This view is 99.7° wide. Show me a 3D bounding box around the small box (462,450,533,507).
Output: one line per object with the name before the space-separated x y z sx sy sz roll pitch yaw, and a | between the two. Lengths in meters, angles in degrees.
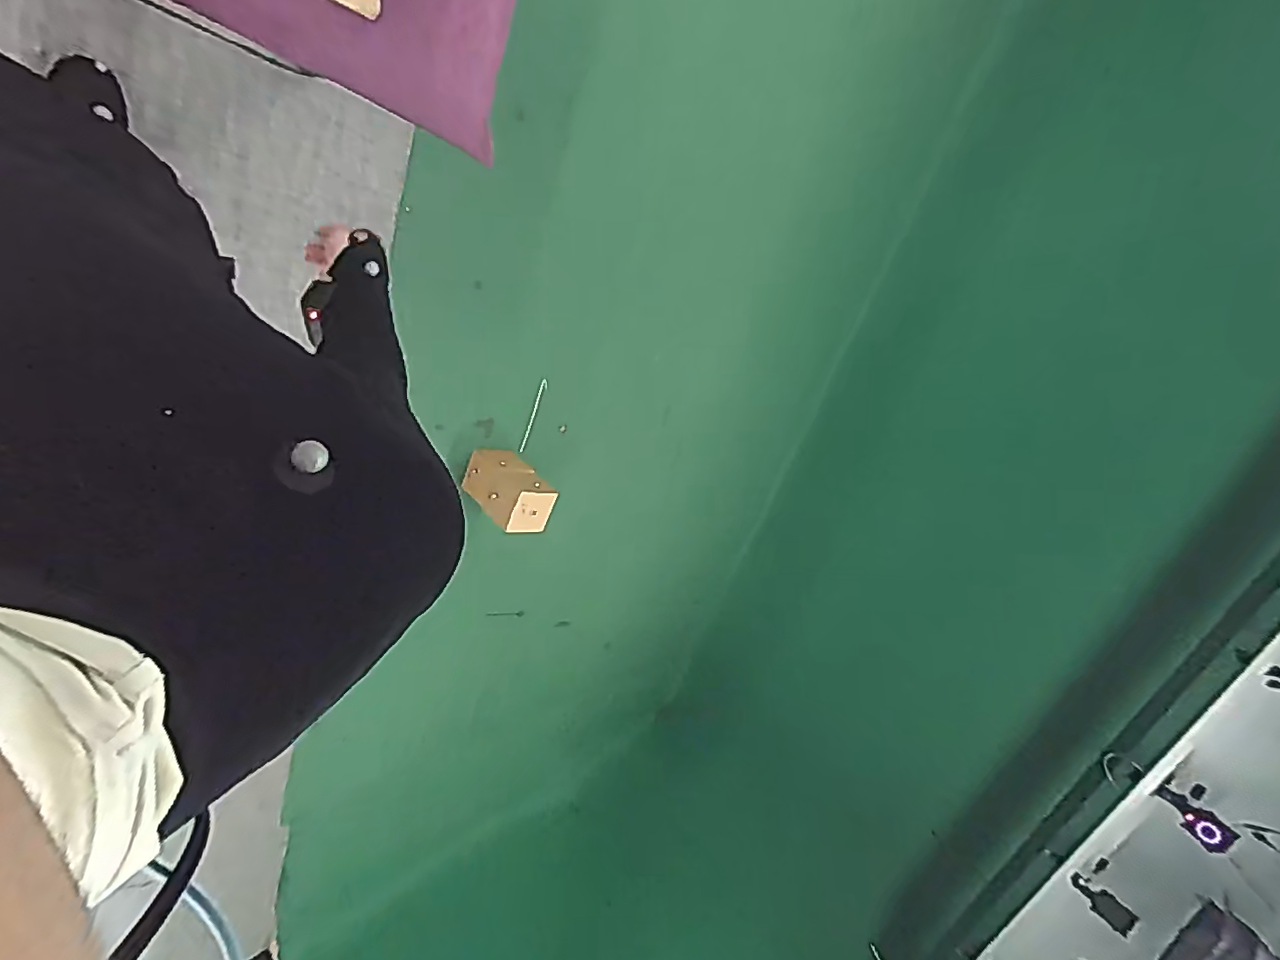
small box | -0.551 -0.005 2.075 0.179 0.176 0.168 3 117 -50

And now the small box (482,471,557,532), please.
small box | -0.444 0.077 1.979 0.179 0.176 0.168 6 114 -51
